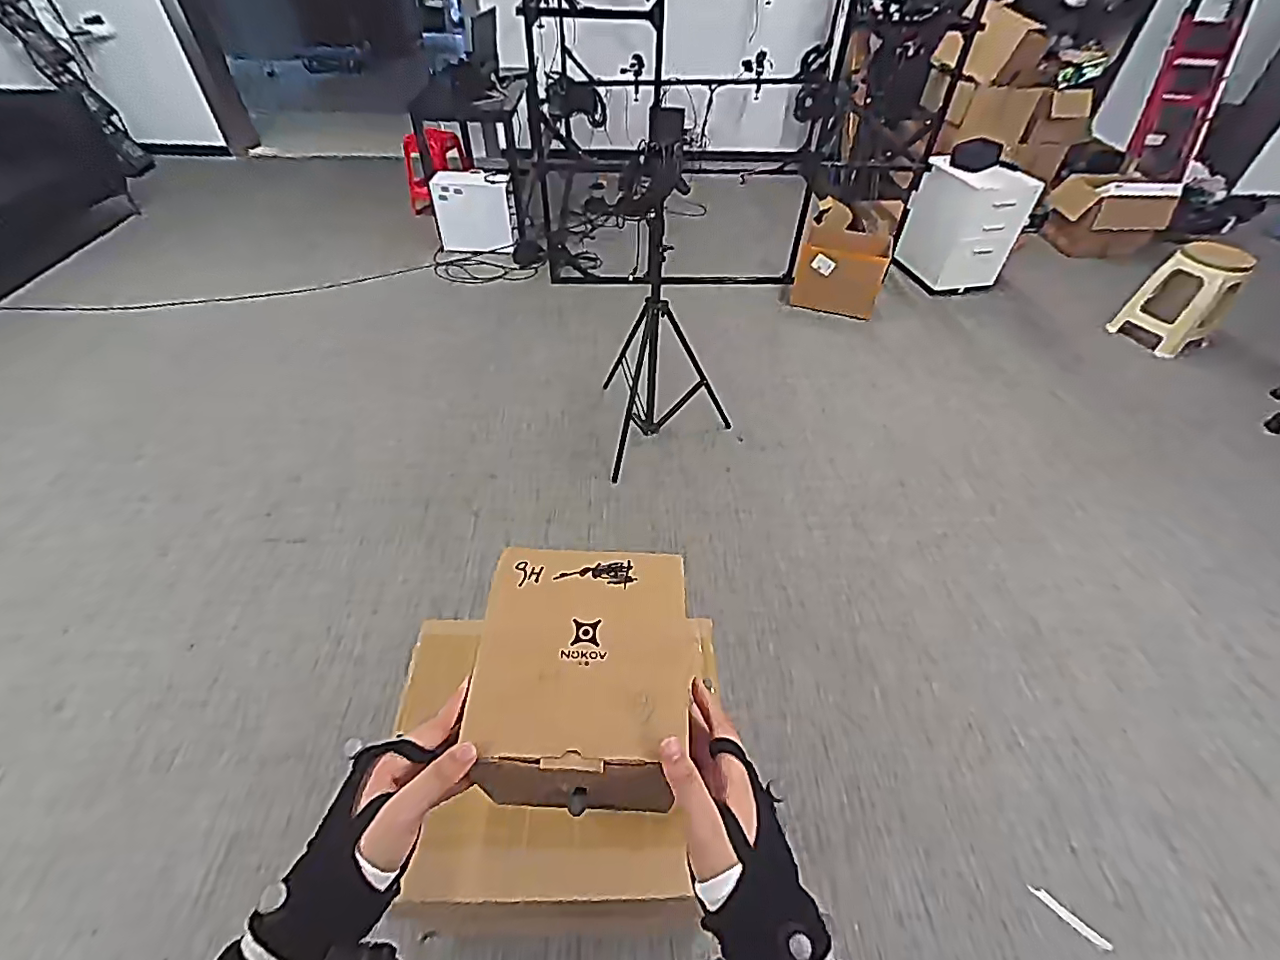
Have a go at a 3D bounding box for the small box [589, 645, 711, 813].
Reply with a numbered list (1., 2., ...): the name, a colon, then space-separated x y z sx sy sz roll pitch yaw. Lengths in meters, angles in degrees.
1. small box: 0.003 0.354 0.772 0.168 0.176 0.179 -1 47 -1

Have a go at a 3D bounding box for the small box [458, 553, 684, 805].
1. small box: -0.047 0.186 0.495 0.168 0.176 0.179 2 50 0
